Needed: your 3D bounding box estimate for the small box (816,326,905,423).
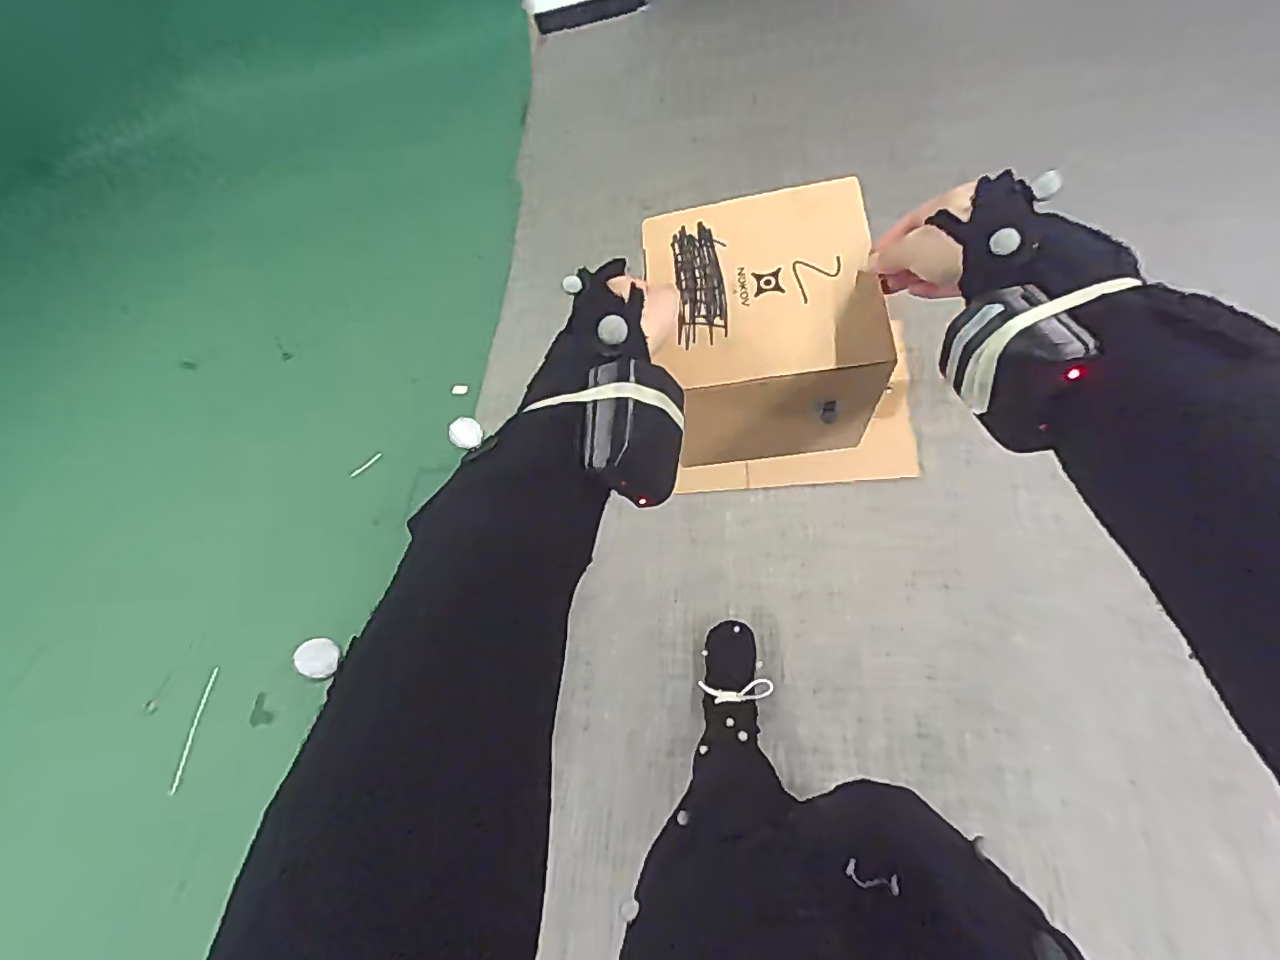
[{"bbox_3d":[0.527,-0.250,1.318,0.179,0.176,0.168,-2,66,12],"label":"small box"}]
